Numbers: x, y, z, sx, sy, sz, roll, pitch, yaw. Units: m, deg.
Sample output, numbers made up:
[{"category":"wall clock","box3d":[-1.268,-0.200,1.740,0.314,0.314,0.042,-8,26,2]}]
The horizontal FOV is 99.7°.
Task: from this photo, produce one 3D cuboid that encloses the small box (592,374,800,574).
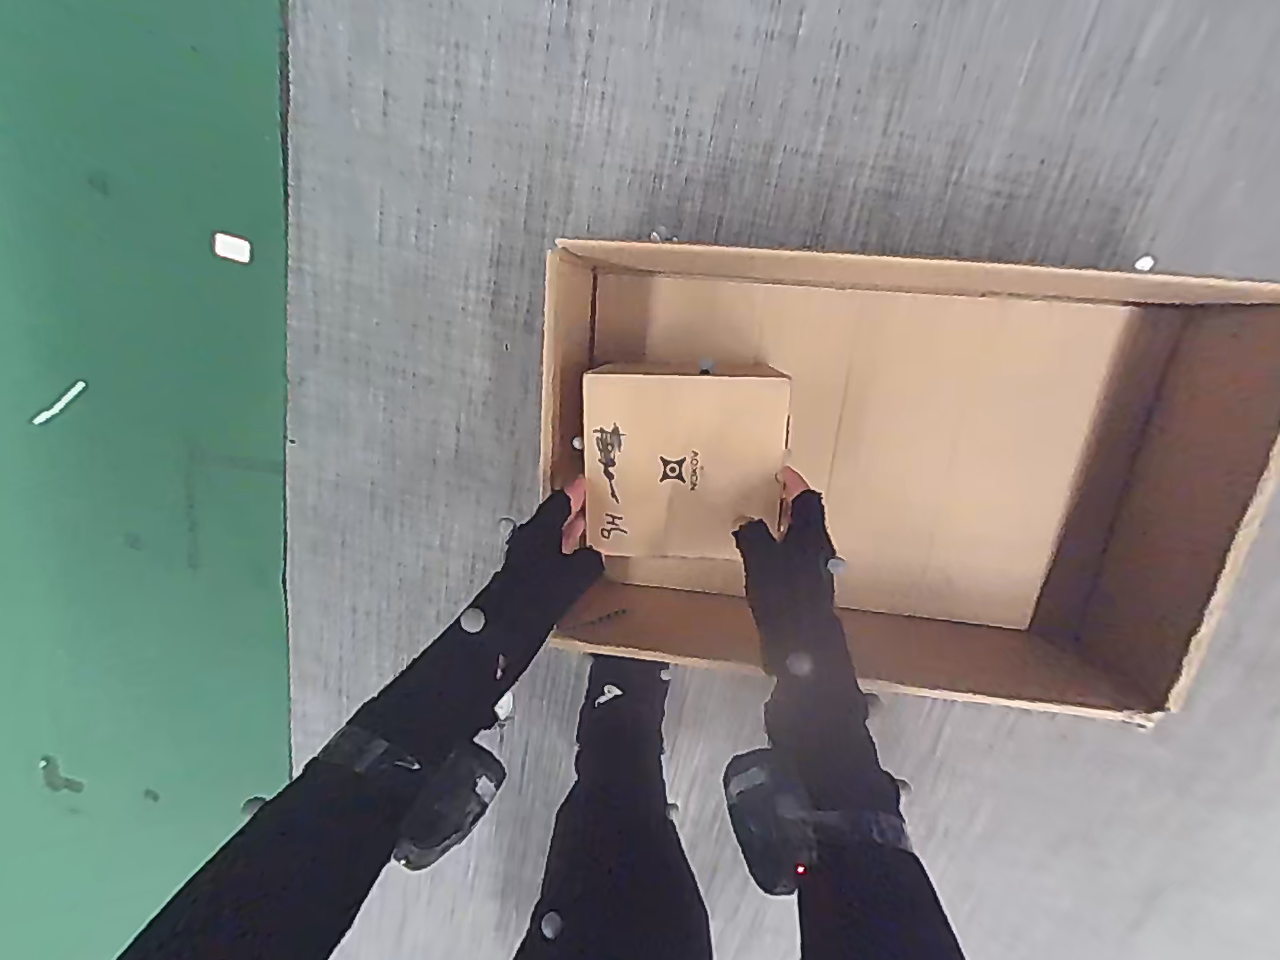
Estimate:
[{"category":"small box","box3d":[0.051,-0.018,0.546,0.179,0.176,0.168,2,105,5]}]
